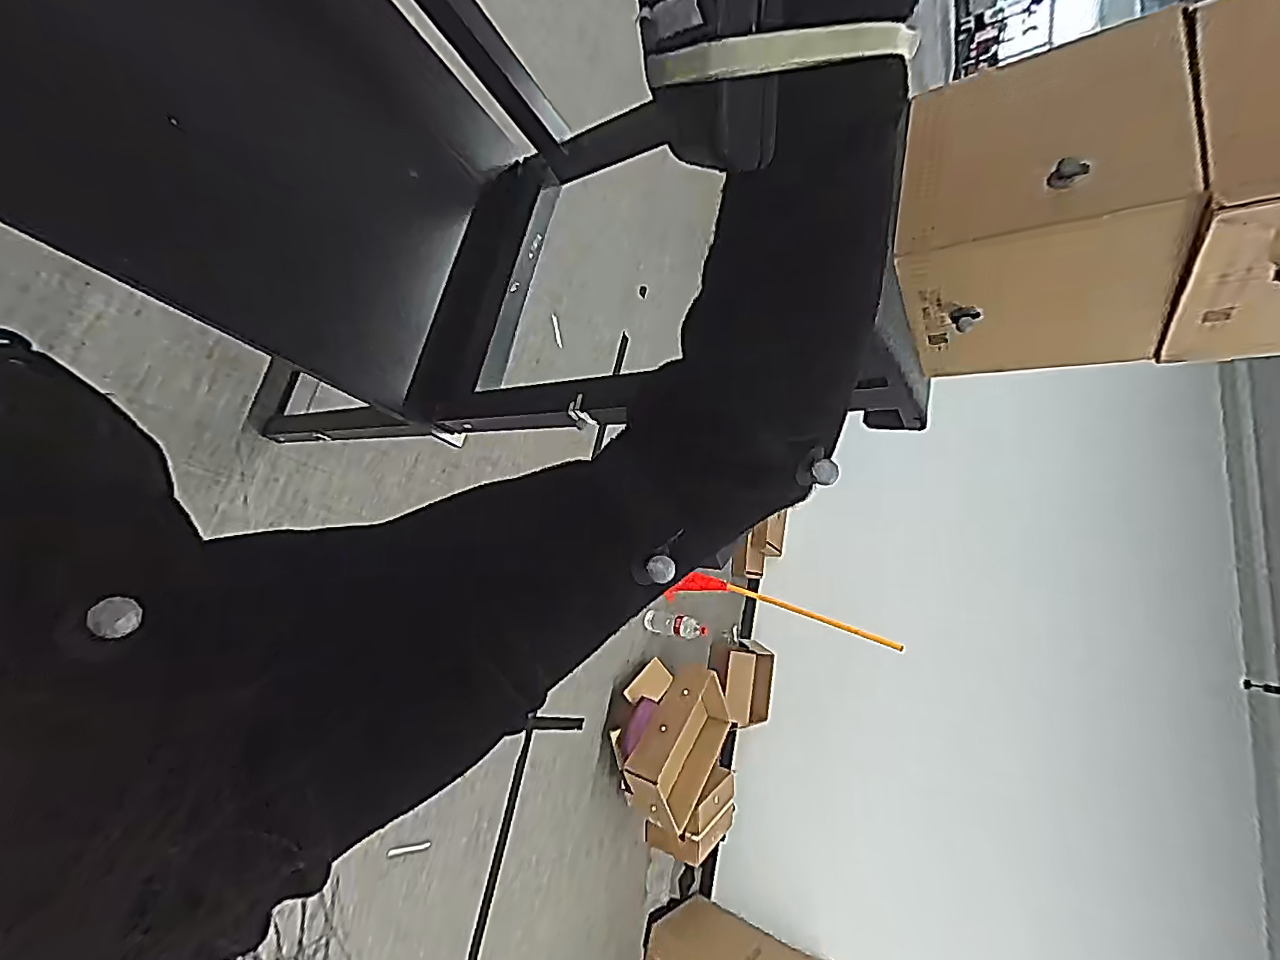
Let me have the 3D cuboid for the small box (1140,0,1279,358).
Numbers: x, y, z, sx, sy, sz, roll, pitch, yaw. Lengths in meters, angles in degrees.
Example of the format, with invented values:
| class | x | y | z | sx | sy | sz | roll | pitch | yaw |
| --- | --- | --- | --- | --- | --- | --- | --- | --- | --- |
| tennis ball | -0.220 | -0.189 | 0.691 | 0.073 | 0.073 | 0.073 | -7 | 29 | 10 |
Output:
| class | x | y | z | sx | sy | sz | roll | pitch | yaw |
| --- | --- | --- | --- | --- | --- | --- | --- | --- | --- |
| small box | 0.449 | -0.199 | 0.347 | 0.168 | 0.176 | 0.179 | 34 | 65 | -50 |
